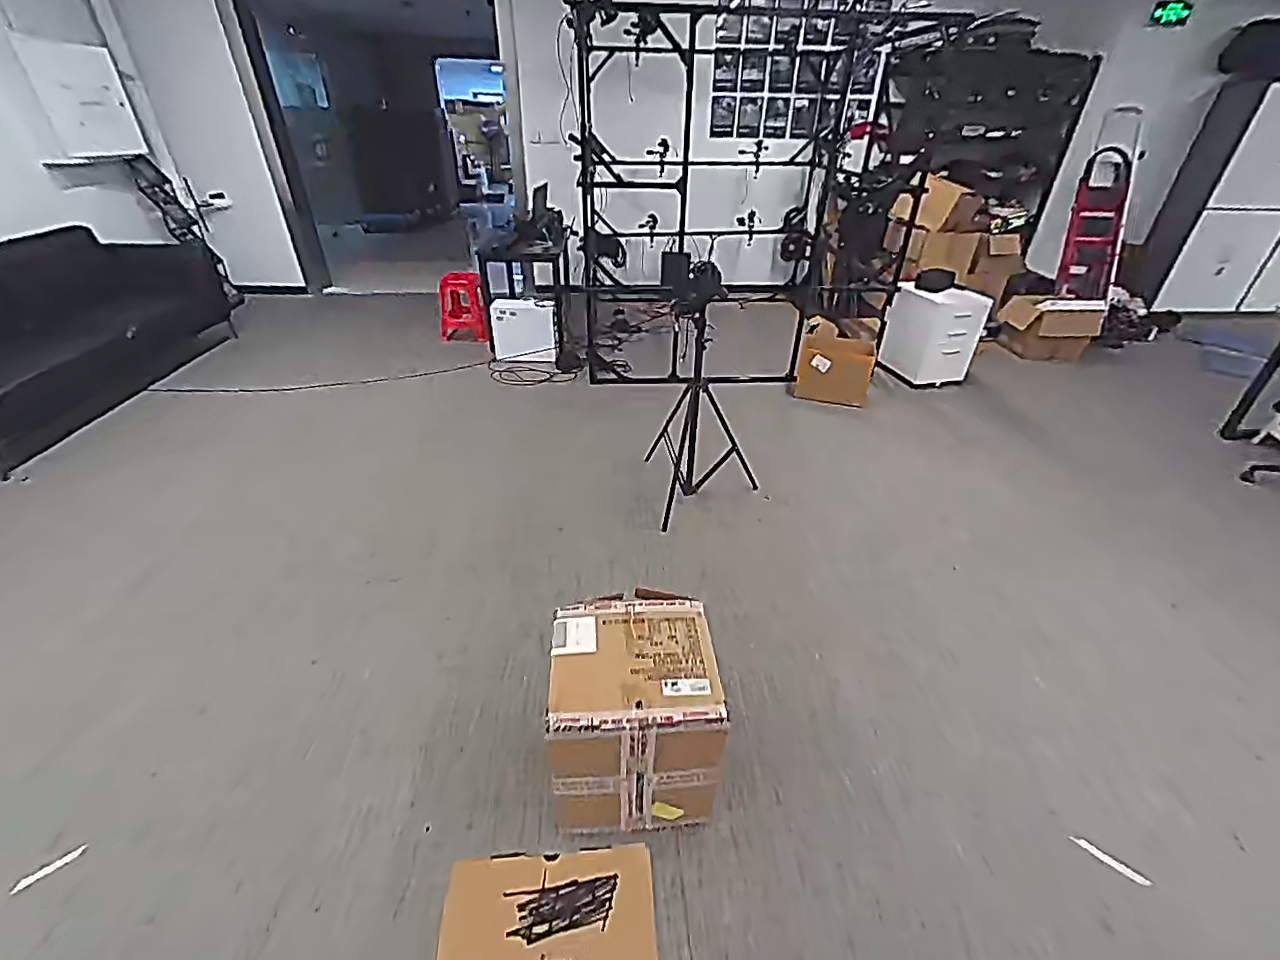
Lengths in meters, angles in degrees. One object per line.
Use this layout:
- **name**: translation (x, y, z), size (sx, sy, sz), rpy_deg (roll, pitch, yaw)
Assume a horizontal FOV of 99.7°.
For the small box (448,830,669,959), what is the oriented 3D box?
- **small box**: translation (-0.063, 0.423, 0.439), size (0.168, 0.176, 0.179), rpy_deg (-2, 34, -6)
